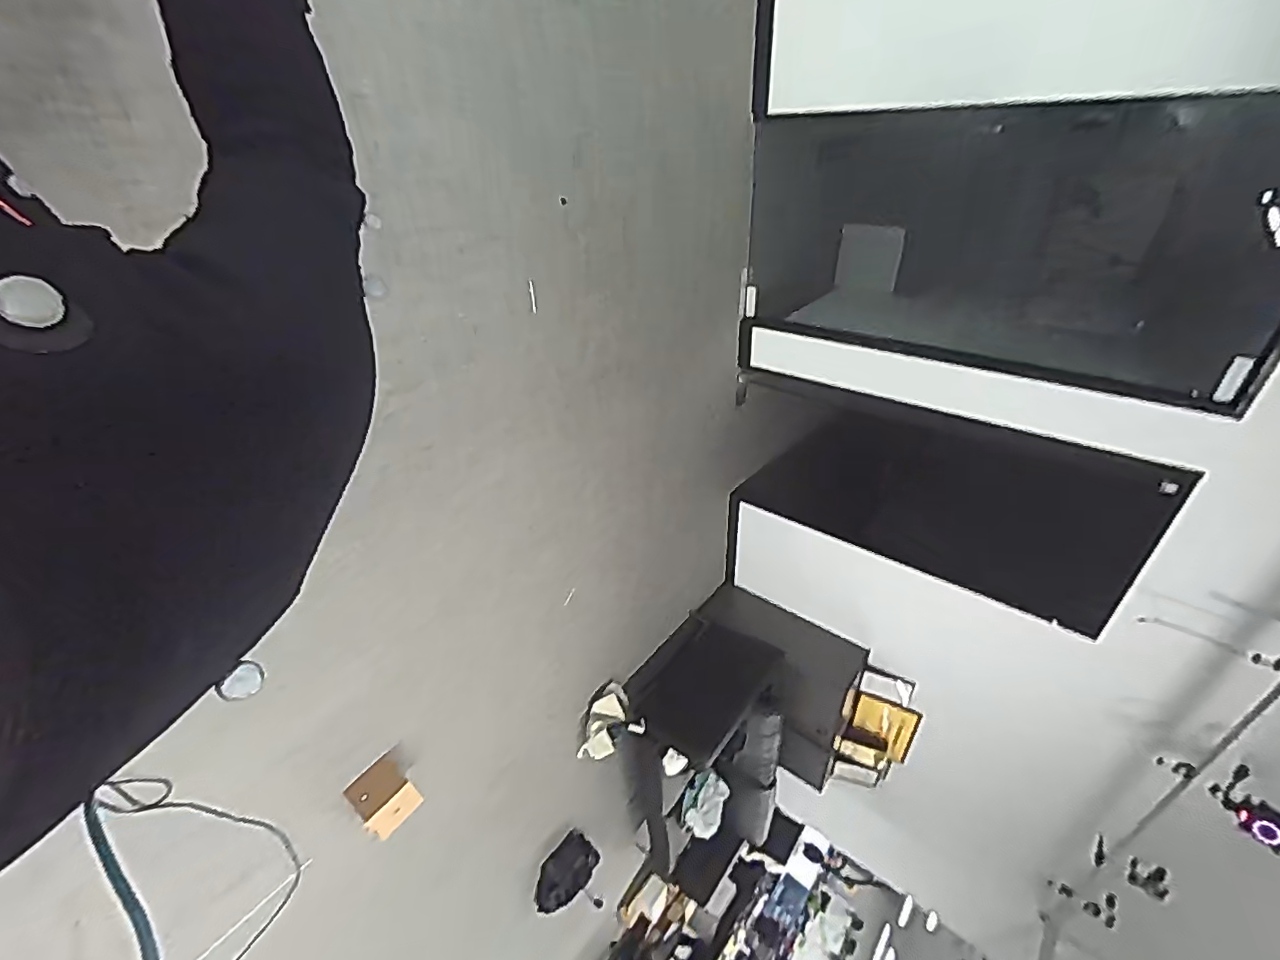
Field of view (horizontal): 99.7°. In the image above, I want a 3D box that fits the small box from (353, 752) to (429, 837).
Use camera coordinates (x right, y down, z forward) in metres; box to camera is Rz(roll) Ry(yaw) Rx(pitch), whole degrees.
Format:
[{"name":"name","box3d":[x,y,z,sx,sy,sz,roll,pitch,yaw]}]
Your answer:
[{"name":"small box","box3d":[-0.918,1.148,1.980,0.179,0.176,0.168,-41,139,-35]}]
